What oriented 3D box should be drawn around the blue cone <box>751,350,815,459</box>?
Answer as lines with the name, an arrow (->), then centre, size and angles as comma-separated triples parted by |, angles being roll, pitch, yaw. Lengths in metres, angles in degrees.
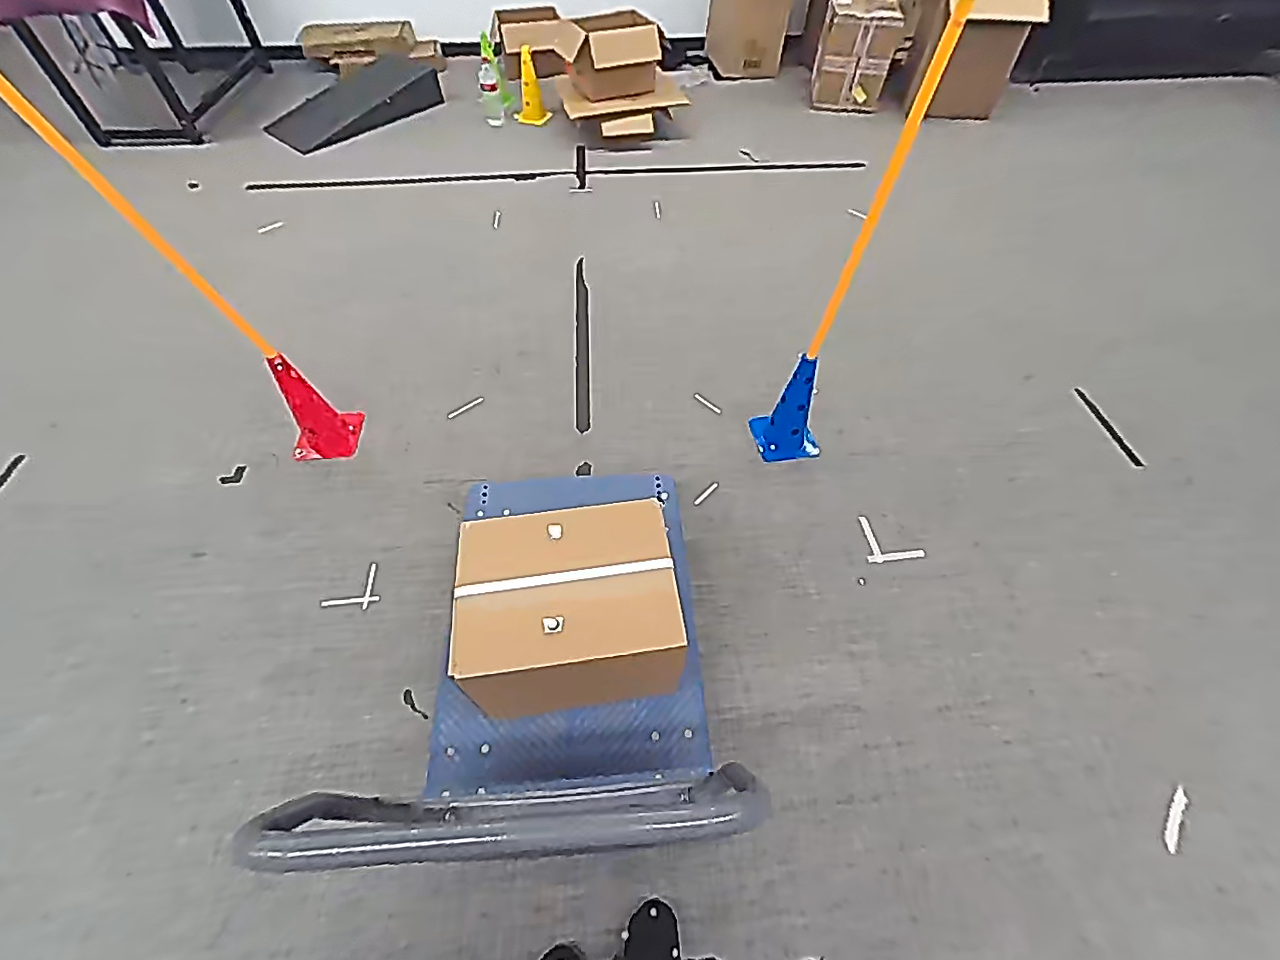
blue cone -> 0.493, -0.248, 1.720 | 0.193, 0.380, 0.192 | -7, 53, -6
